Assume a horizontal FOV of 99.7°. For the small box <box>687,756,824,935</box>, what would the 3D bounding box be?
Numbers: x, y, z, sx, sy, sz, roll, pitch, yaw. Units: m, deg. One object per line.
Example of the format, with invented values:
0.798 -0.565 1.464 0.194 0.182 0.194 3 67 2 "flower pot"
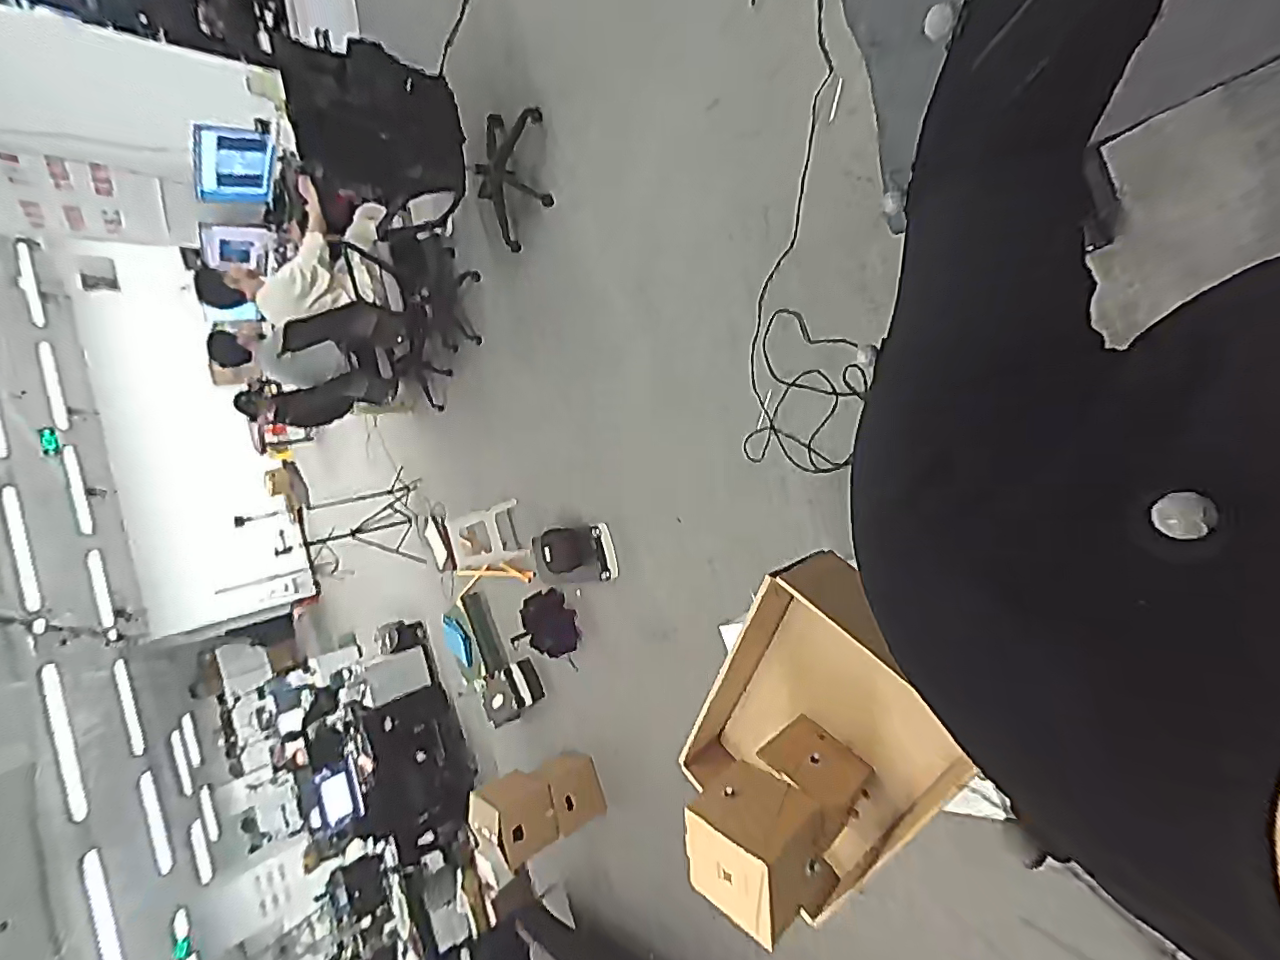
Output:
0.208 0.633 0.968 0.179 0.176 0.168 6 106 46 "small box"
